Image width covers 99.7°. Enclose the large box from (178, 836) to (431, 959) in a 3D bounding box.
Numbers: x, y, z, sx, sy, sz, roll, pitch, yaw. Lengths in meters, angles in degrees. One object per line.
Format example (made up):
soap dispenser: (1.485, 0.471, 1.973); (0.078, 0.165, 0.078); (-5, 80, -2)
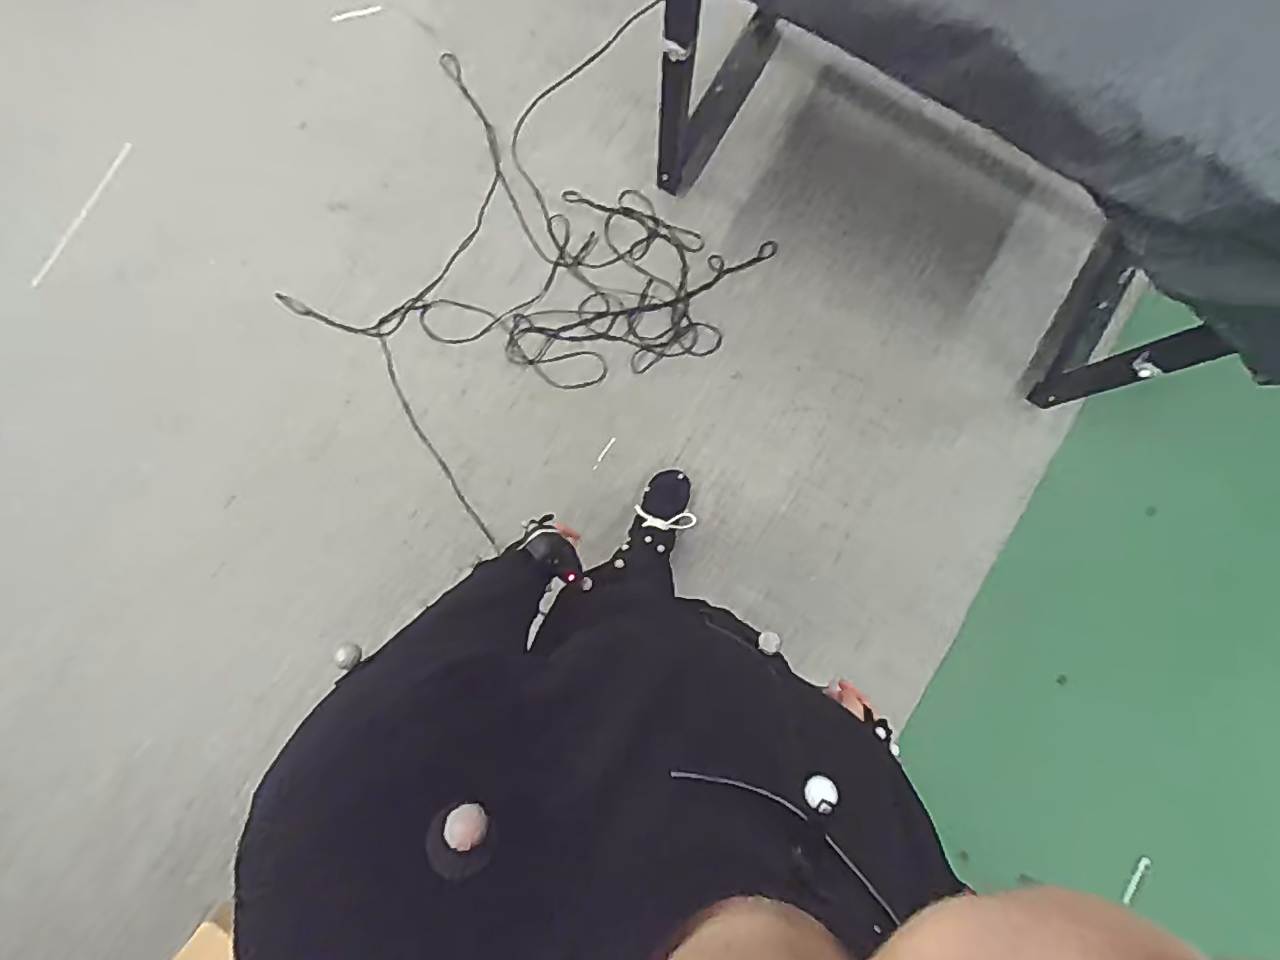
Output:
large box: (-0.741, 1.082, 1.144); (0.408, 0.320, 0.320); (37, 86, 5)
